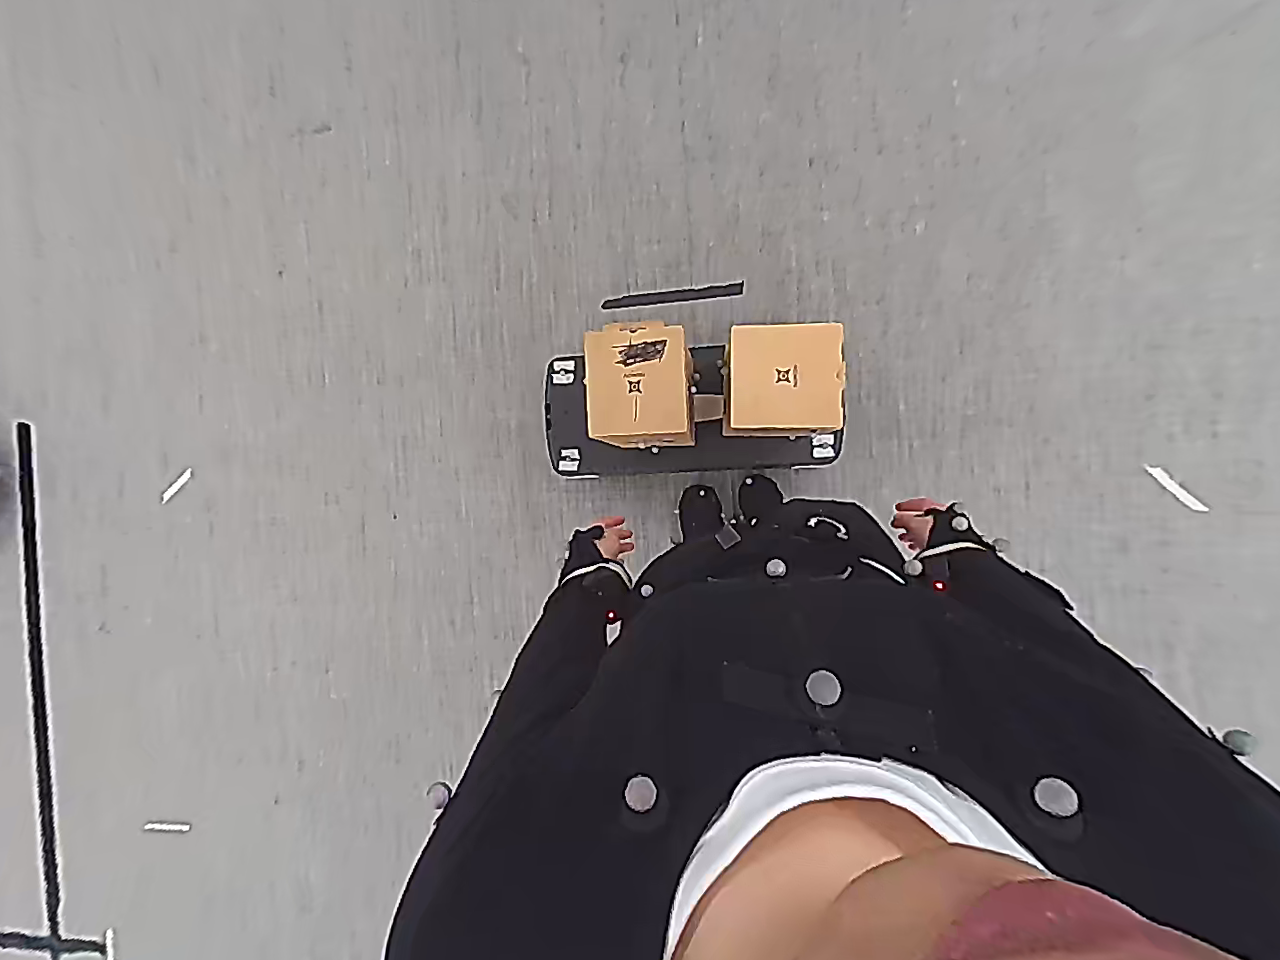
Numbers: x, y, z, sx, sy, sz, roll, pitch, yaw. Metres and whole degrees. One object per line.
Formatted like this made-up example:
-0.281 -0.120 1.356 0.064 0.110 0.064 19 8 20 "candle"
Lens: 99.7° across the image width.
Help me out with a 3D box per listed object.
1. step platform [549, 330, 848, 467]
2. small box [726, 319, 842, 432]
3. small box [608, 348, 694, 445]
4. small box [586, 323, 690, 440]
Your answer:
0.129 -0.191 1.284 0.684 0.204 0.286 -3 90 8 "step platform"
0.238 -0.171 0.931 0.179 0.176 0.168 0 91 7 "small box"
0.025 -0.166 1.123 0.168 0.176 0.179 -1 91 8 "small box"
0.002 -0.166 0.961 0.168 0.176 0.179 -2 91 7 "small box"
